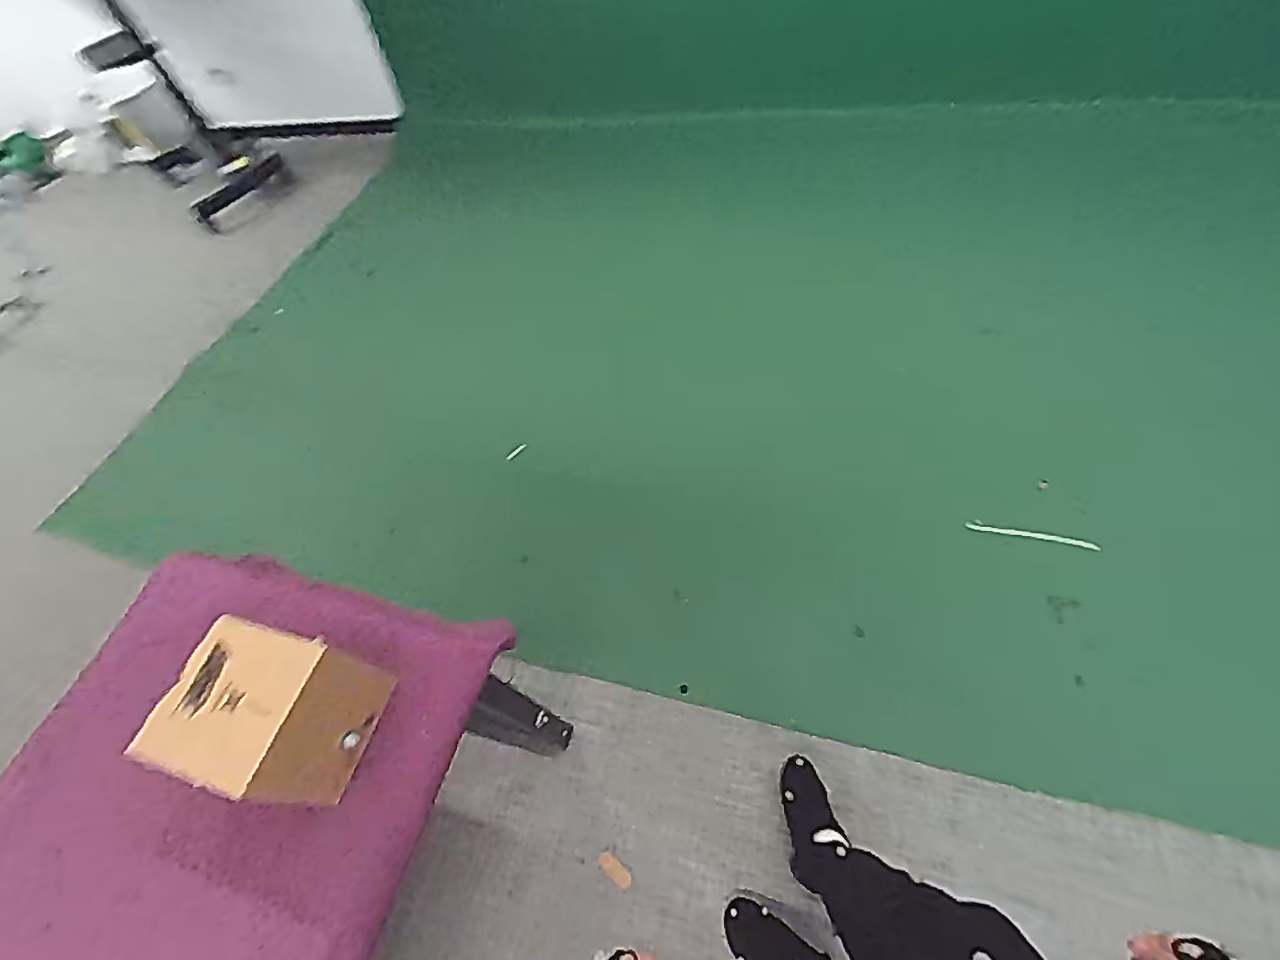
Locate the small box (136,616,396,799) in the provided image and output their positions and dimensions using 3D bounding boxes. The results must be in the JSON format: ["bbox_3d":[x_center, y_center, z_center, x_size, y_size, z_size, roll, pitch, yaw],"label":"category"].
[{"bbox_3d":[-0.462,0.297,0.698,0.179,0.176,0.168,9,59,16],"label":"small box"}]
